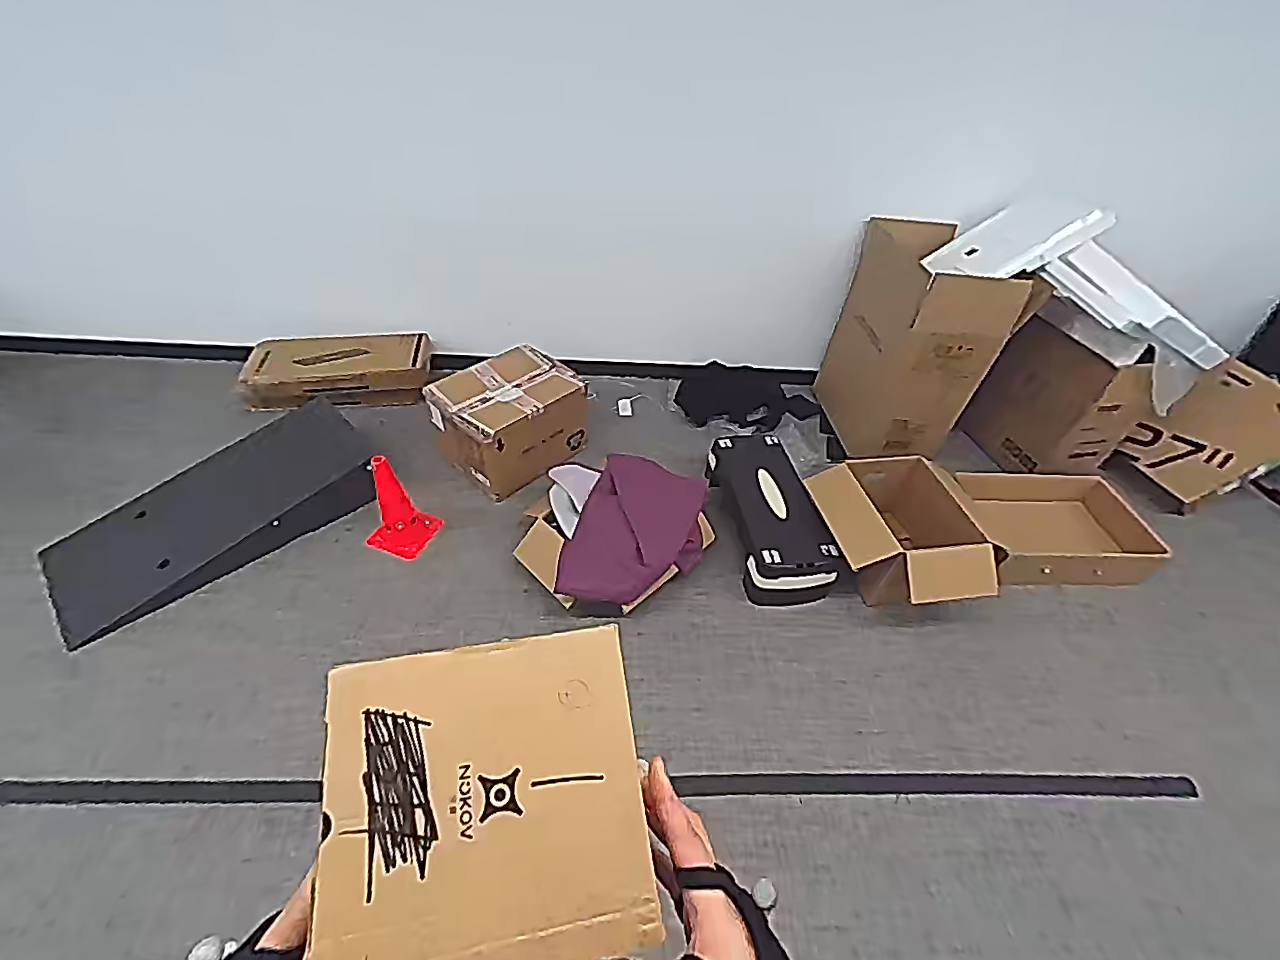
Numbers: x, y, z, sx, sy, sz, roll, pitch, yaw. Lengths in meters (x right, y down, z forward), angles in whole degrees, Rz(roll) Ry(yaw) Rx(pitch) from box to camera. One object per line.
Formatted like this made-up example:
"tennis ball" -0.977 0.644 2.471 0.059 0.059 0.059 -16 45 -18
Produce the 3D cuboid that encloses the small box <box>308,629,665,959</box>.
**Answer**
"small box" -0.090 0.211 0.368 0.179 0.176 0.168 -6 64 -9
